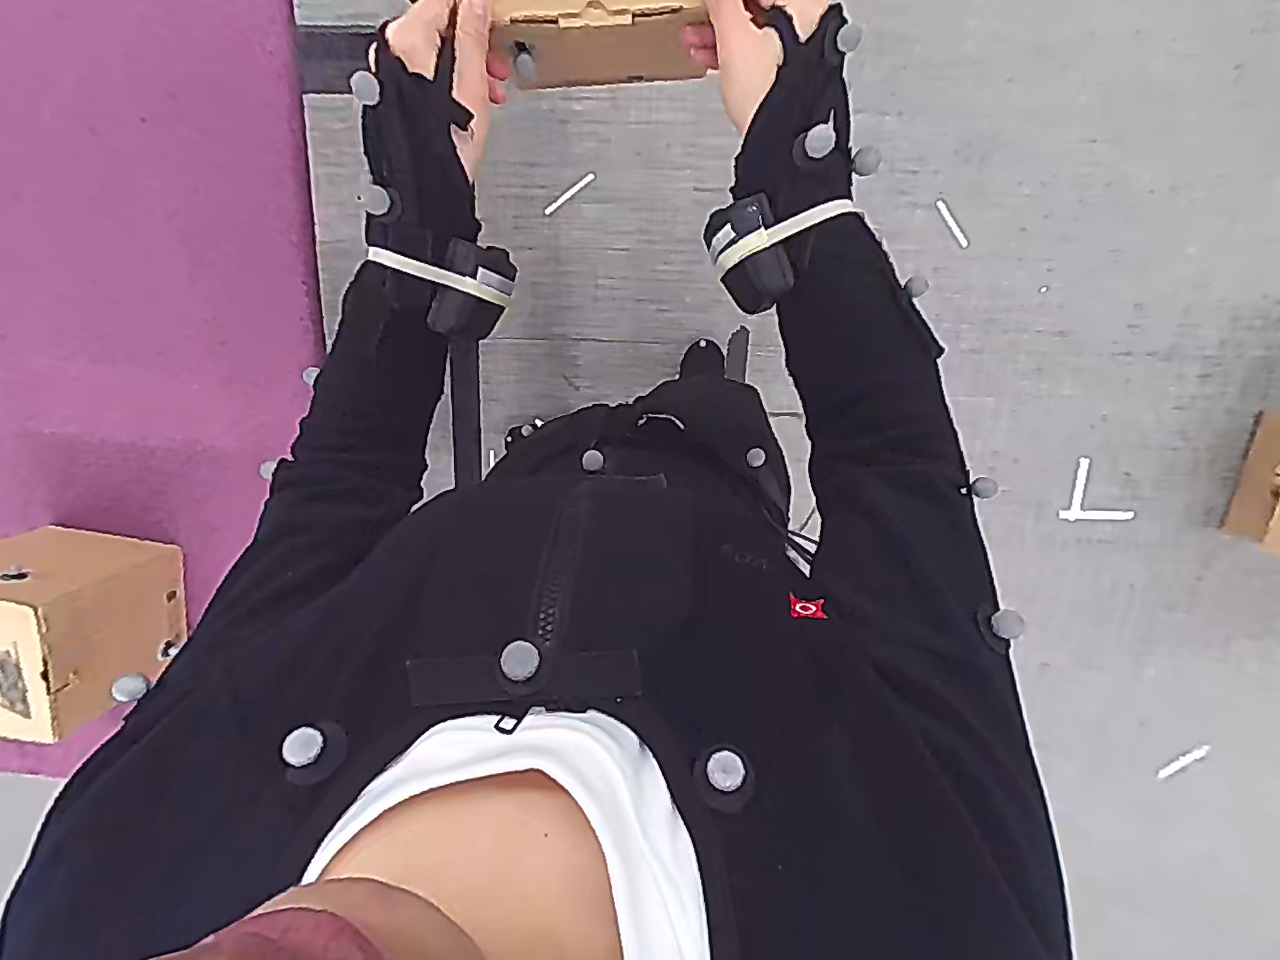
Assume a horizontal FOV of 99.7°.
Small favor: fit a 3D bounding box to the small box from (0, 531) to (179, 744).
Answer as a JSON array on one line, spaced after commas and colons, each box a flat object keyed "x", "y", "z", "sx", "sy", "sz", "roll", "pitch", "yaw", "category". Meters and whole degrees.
[{"x": -0.684, "y": 0.170, "z": 0.630, "sx": 0.179, "sy": 0.176, "sz": 0.168, "roll": 9, "pitch": 103, "yaw": 1, "category": "small box"}]
